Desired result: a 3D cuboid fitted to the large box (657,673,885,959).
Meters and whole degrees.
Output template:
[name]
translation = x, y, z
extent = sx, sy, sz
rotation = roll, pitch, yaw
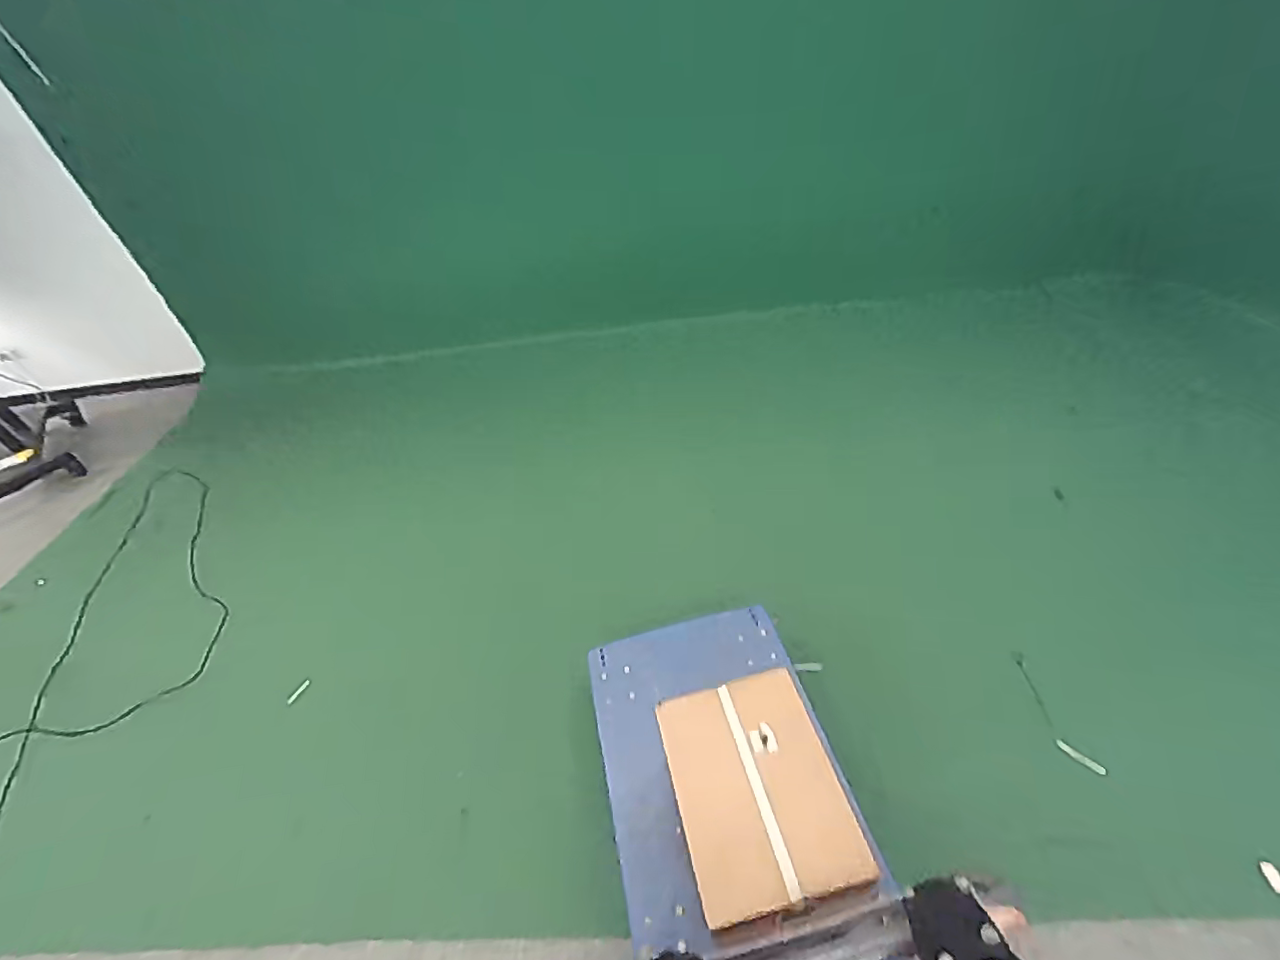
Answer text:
[large box]
translation = 0.251, 0.701, 1.146
extent = 0.320, 0.320, 0.408
rotation = -14, 41, -4
